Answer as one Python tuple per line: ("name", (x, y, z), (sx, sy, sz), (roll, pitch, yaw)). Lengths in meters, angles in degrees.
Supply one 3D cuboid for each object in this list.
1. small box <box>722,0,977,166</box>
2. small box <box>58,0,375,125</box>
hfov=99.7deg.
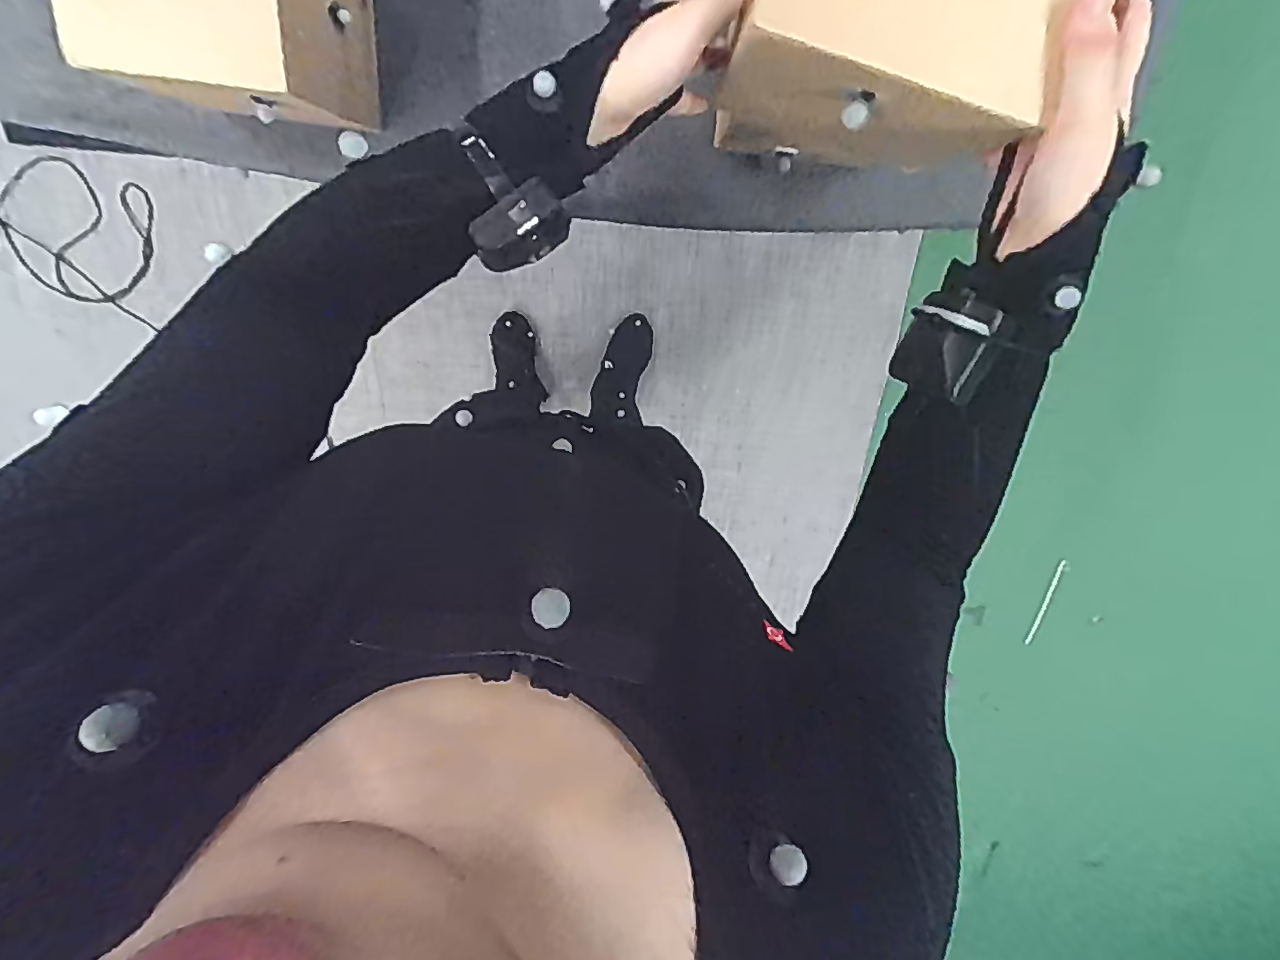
("small box", (0.170, -0.393, 0.471), (0.168, 0.176, 0.179), (6, 114, 0))
("small box", (-0.351, -0.426, 0.470), (0.179, 0.176, 0.168), (7, 114, -2))
